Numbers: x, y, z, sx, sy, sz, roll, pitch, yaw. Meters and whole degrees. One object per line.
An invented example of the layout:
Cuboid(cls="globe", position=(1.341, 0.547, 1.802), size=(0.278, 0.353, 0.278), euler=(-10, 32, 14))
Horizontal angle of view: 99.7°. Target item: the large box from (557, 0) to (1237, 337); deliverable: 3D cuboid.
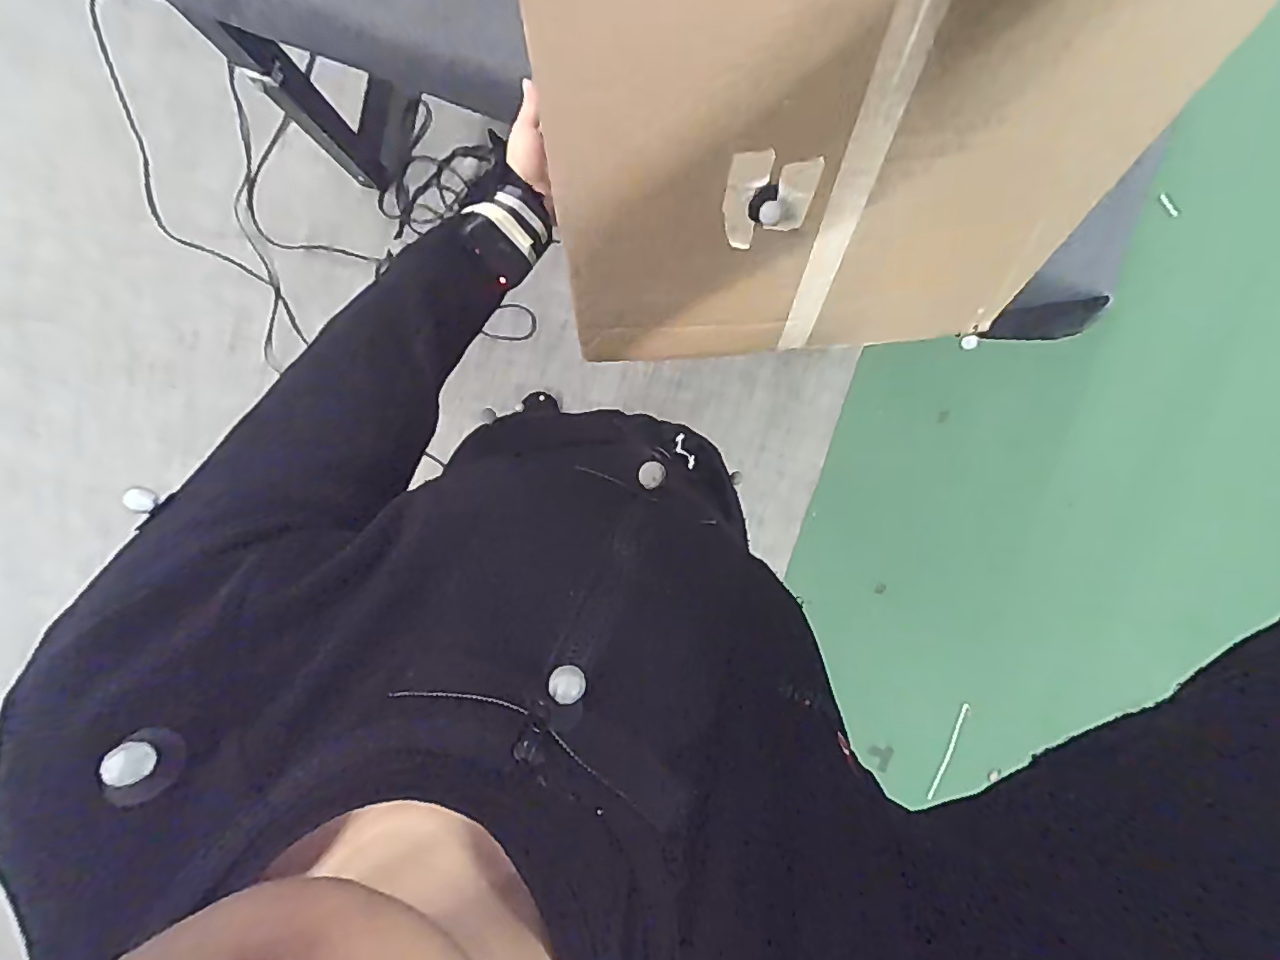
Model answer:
Cuboid(cls="large box", position=(0.105, -0.340, 0.298), size=(0.320, 0.408, 0.320), euler=(-5, 68, -1))
